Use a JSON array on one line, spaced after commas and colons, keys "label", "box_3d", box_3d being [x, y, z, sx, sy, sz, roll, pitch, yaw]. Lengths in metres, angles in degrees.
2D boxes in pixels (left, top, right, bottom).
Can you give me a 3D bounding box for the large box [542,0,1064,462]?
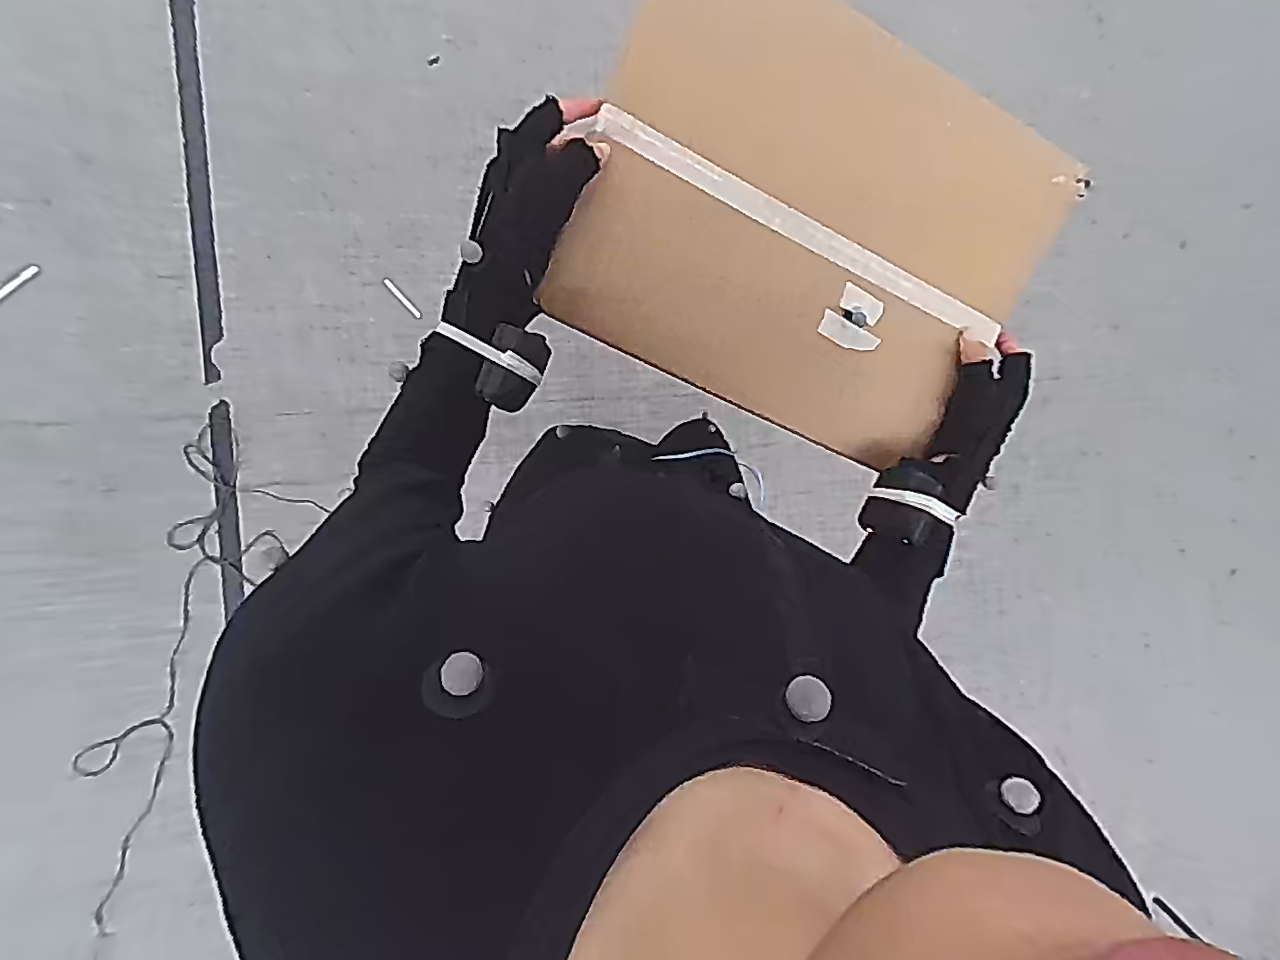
[{"label": "large box", "box_3d": [0.133, -0.265, 0.626, 0.408, 0.320, 0.320, 23, 104, -13]}]
